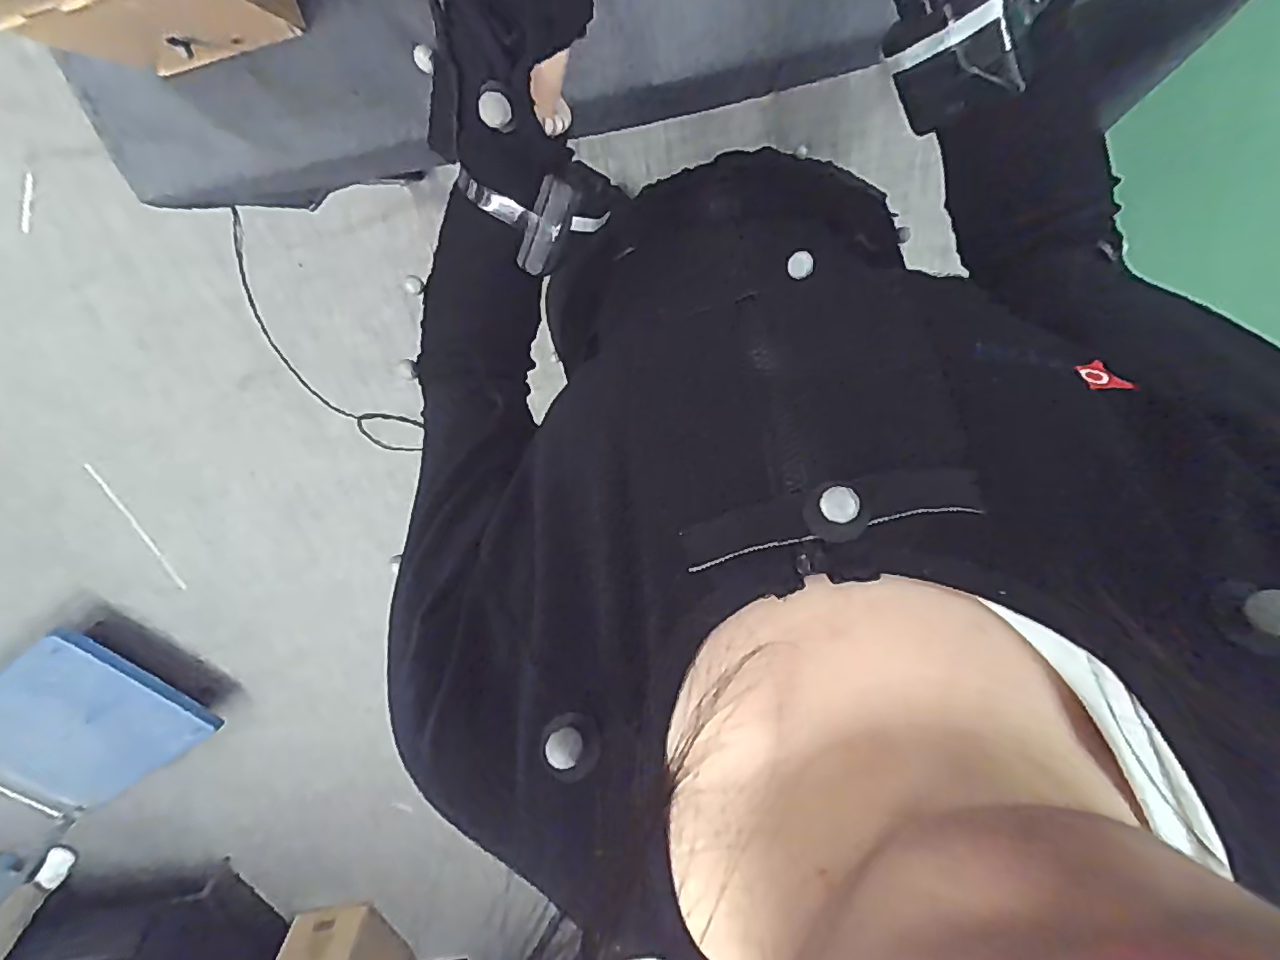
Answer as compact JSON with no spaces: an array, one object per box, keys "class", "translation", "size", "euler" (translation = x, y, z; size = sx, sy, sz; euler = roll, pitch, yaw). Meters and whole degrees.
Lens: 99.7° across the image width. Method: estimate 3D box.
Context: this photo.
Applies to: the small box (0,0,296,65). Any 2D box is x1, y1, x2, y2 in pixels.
[{"class":"small box","translation":[-0.425,-0.466,0.424],"size":[0.168,0.176,0.179],"euler":[-12,118,5]}]
